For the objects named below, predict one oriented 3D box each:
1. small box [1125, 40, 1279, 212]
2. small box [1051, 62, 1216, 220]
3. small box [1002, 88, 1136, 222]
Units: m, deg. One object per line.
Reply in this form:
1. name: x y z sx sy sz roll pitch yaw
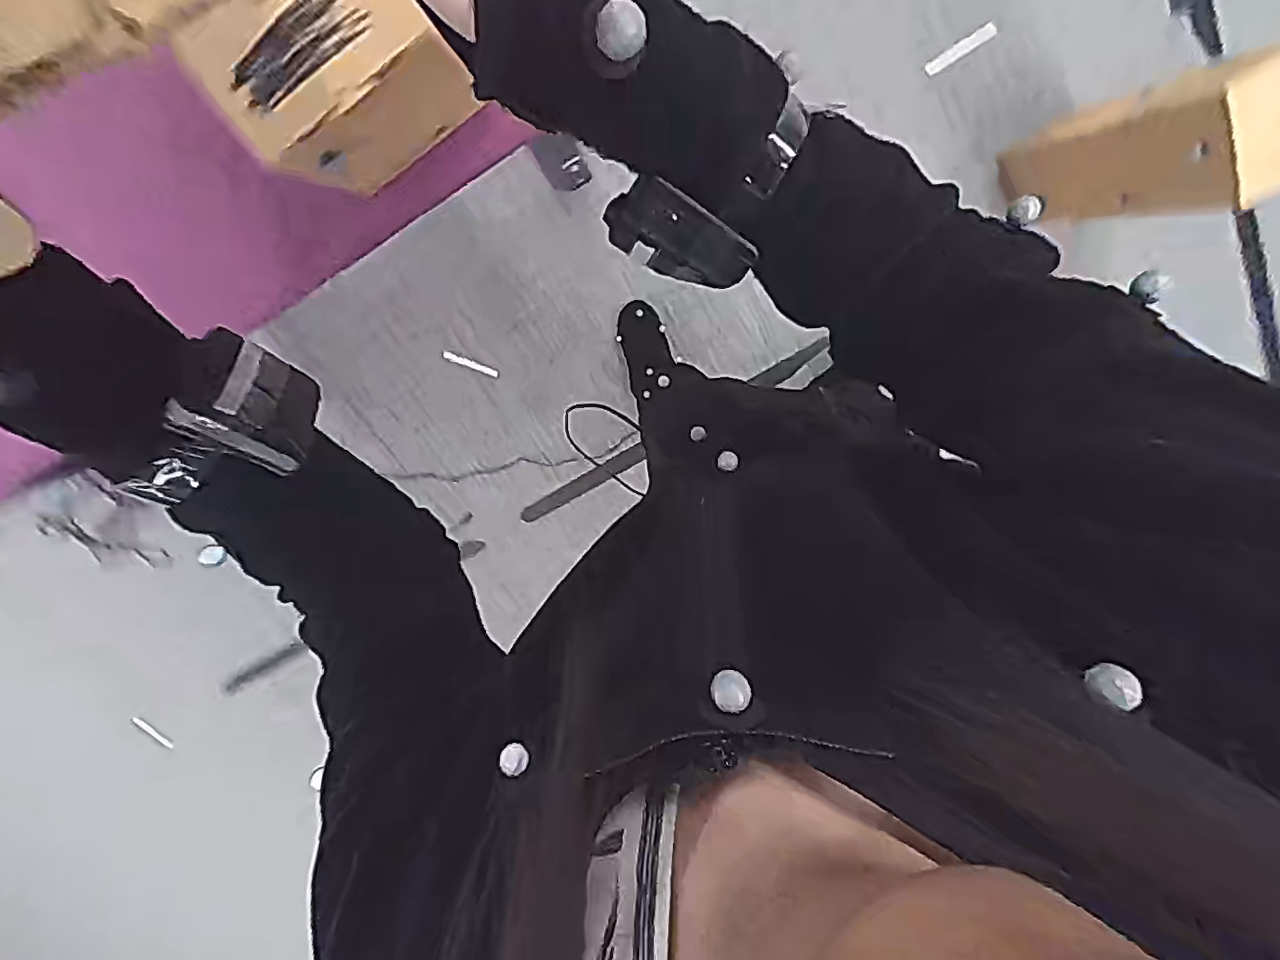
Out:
1. small box: 0.909 -0.542 0.836 0.168 0.176 0.179 -30 111 10
2. small box: 0.904 -0.602 0.990 0.168 0.176 0.179 -30 110 10
3. small box: 0.905 -0.667 1.139 0.179 0.176 0.168 -32 110 9
